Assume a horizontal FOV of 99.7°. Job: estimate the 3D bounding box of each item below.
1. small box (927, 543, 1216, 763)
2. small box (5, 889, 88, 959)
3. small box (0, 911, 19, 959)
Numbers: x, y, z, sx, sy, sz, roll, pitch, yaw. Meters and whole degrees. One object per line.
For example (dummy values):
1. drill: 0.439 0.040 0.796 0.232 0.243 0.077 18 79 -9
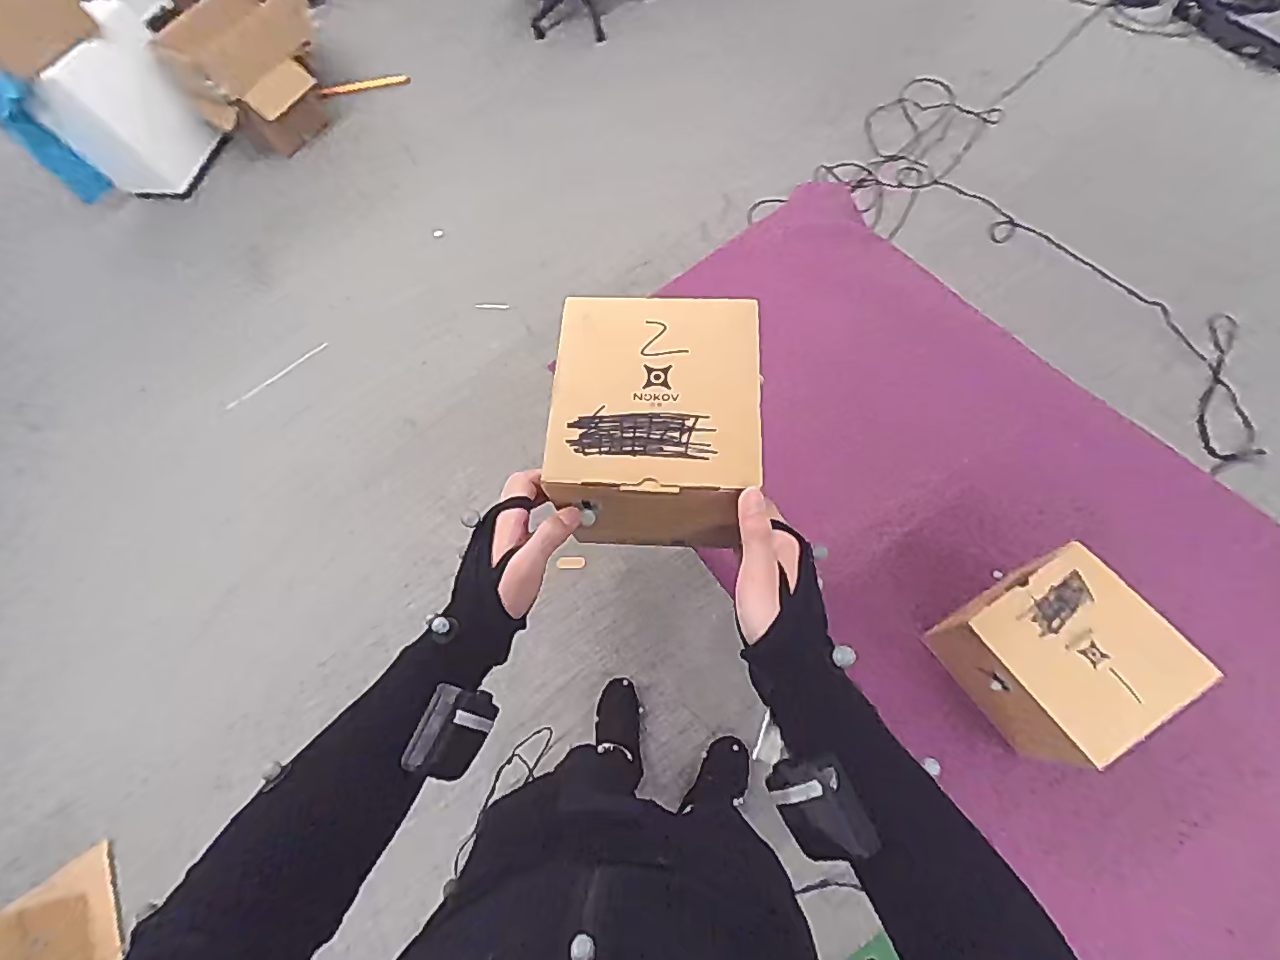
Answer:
1. small box: 0.487 0.208 0.649 0.168 0.176 0.179 -33 66 -4
2. small box: -1.584 1.208 1.392 0.168 0.176 0.179 -33 66 -5
3. small box: -1.604 1.142 1.245 0.168 0.176 0.179 -33 67 -6
